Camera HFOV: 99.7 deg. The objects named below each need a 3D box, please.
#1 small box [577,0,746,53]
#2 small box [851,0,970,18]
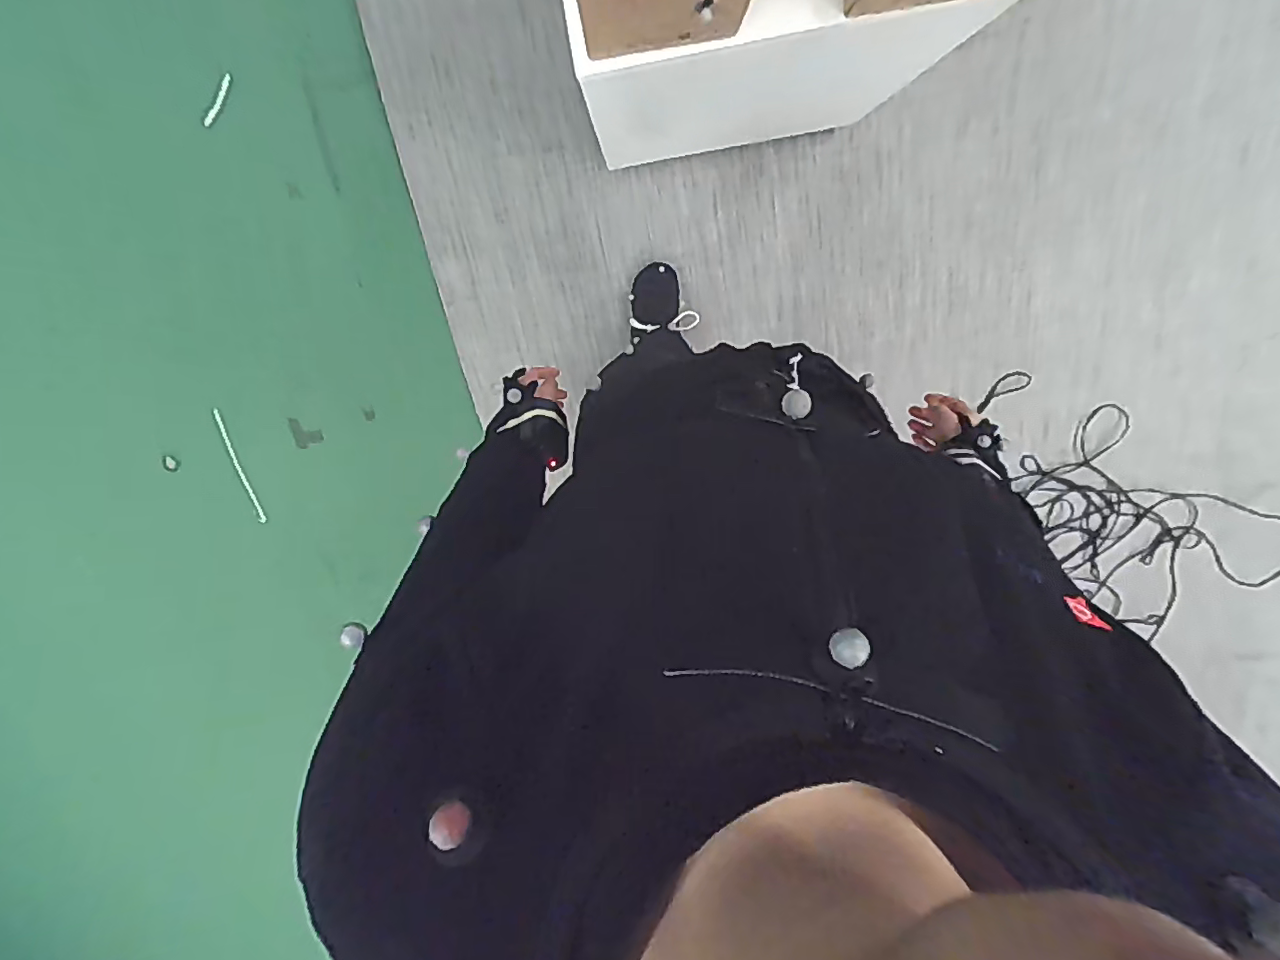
[{"bbox_3d":[0.014,-0.522,0.487,0.168,0.176,0.179,-8,108,2],"label":"small box"},{"bbox_3d":[0.288,-0.558,0.471,0.168,0.176,0.179,-8,109,4],"label":"small box"}]
